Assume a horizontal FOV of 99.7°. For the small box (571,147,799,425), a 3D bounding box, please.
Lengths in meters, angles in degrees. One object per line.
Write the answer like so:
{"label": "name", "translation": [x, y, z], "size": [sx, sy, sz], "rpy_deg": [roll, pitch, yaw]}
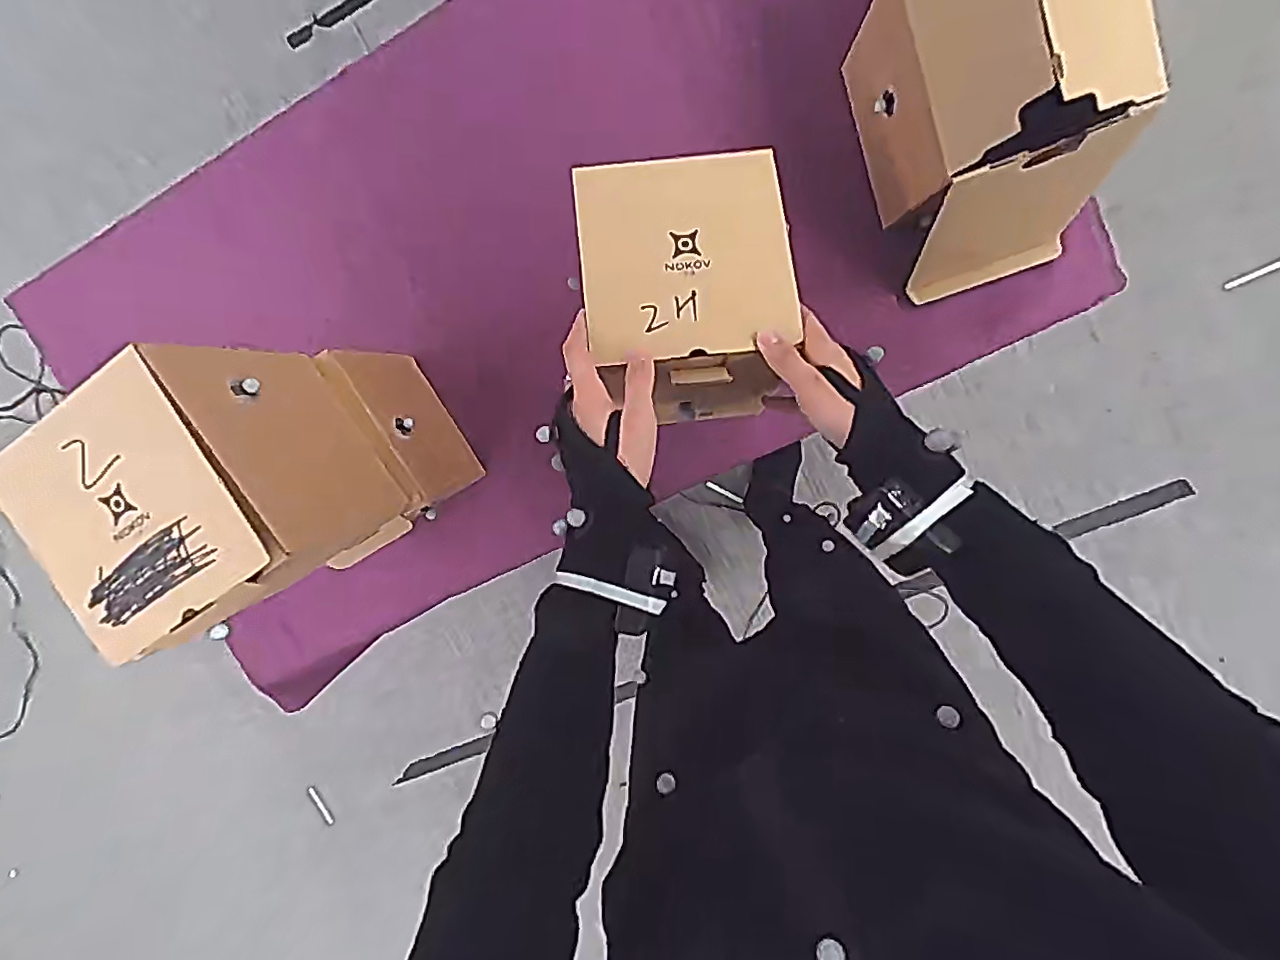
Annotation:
{"label": "small box", "translation": [0.033, -0.164, 0.502], "size": [0.168, 0.176, 0.179], "rpy_deg": [-7, 80, 0]}

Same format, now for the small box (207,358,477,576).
{"label": "small box", "translation": [-0.319, -0.025, 0.620], "size": [0.168, 0.176, 0.179], "rpy_deg": [-29, 97, 9]}
